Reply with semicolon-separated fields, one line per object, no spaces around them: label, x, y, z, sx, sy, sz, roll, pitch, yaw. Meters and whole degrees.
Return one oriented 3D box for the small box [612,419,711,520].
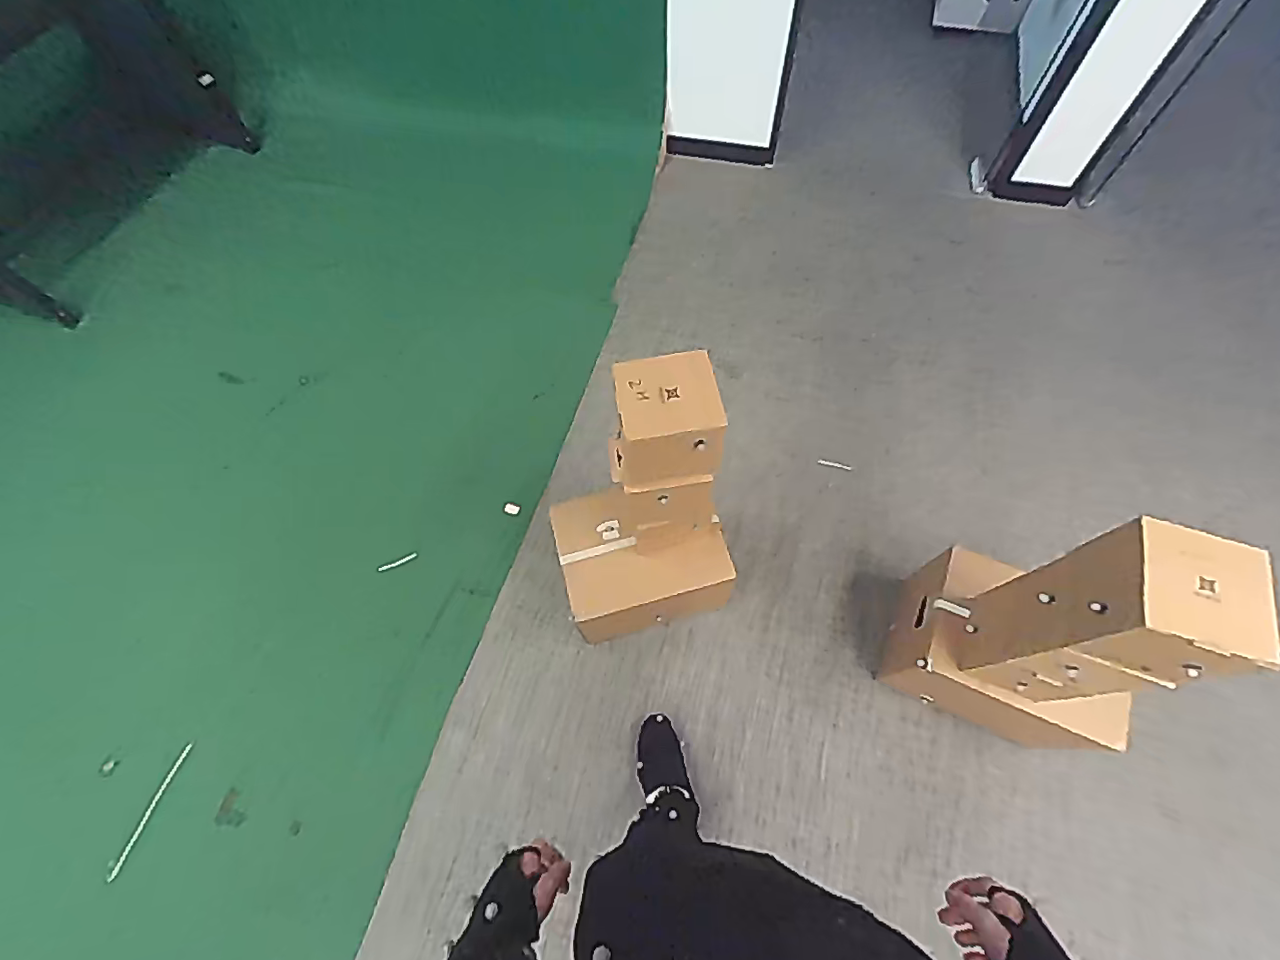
small box;0.044;-0.027;1.128;0.179;0.176;0.168;-8;64;-3

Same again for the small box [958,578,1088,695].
small box;0.788;0.329;1.114;0.168;0.176;0.179;20;68;11

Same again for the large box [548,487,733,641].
large box;0.001;0.212;1.470;0.408;0.320;0.320;-15;63;-4

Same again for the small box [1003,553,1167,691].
small box;0.785;0.261;0.967;0.168;0.176;0.179;19;66;11

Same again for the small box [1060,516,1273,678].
small box;0.780;0.185;0.822;0.168;0.176;0.179;19;66;10

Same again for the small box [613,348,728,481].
small box;0.050;-0.113;0.987;0.179;0.176;0.168;-9;63;-3
